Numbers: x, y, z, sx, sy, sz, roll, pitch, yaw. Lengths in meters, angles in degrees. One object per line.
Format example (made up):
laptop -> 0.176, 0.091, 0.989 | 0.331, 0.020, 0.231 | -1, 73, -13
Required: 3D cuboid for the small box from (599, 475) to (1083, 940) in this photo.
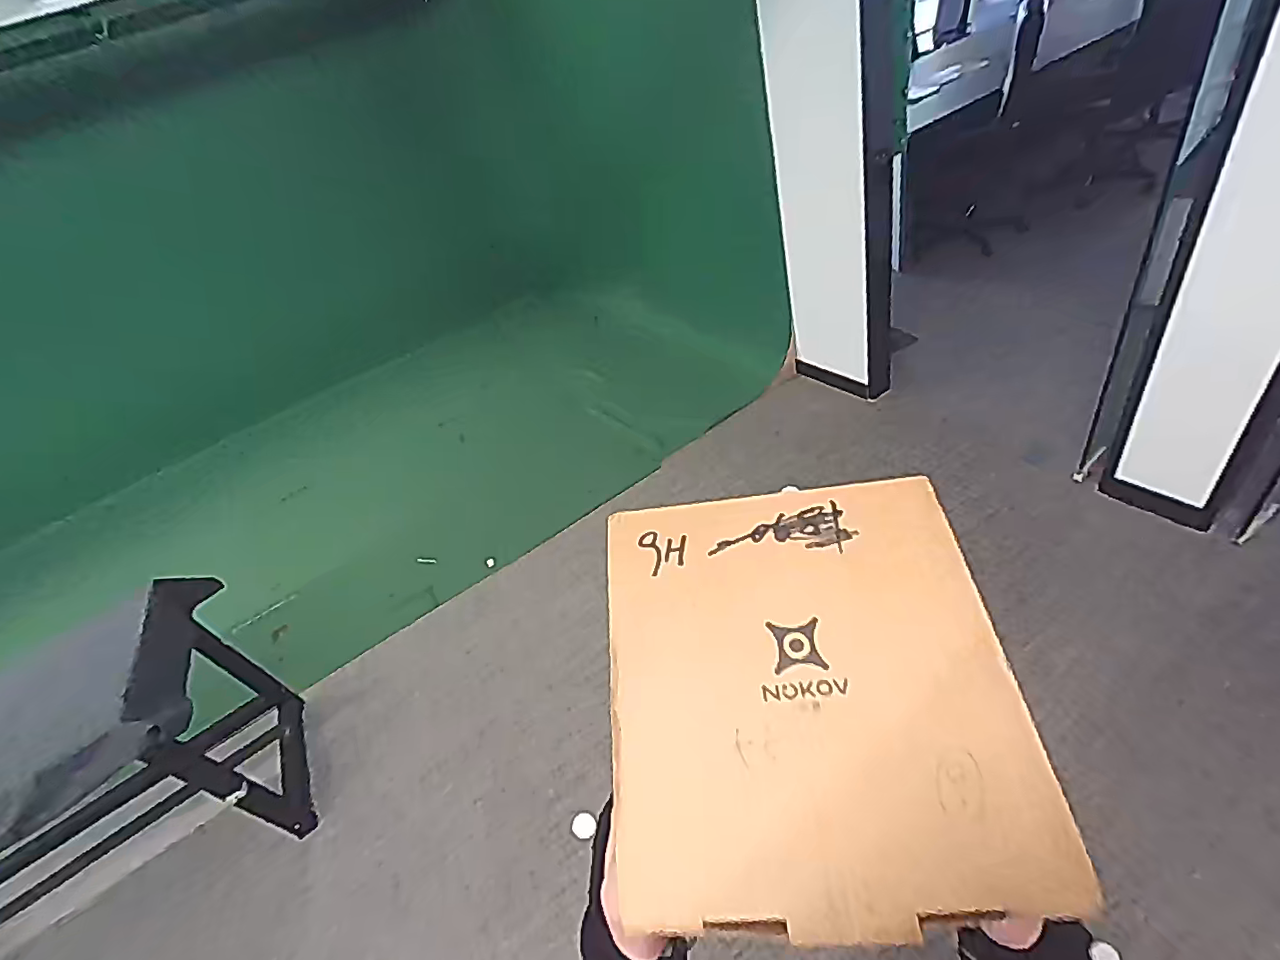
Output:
small box -> 0.073, 0.121, 0.296 | 0.168, 0.176, 0.179 | -6, 57, 4
